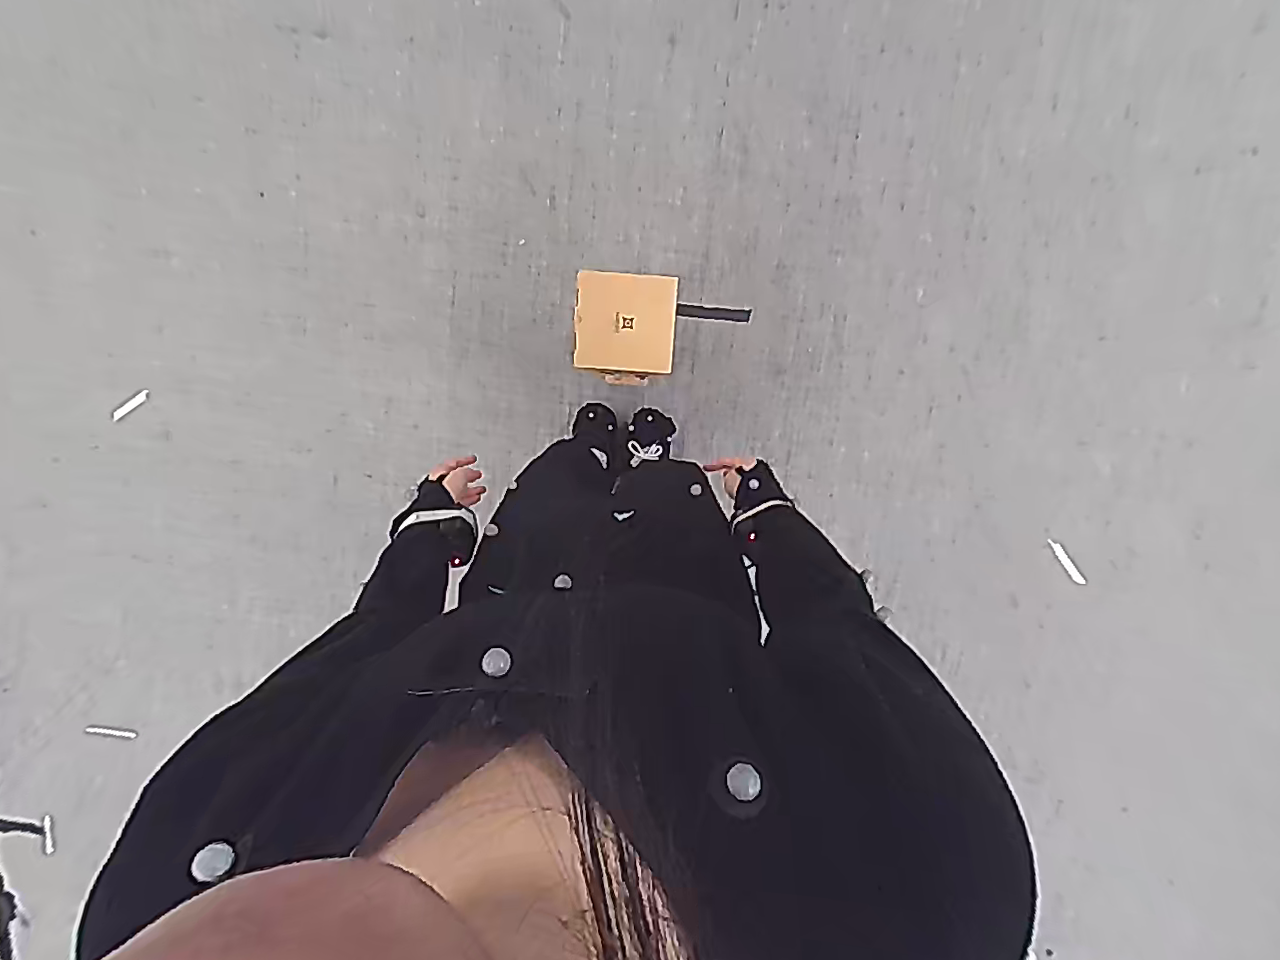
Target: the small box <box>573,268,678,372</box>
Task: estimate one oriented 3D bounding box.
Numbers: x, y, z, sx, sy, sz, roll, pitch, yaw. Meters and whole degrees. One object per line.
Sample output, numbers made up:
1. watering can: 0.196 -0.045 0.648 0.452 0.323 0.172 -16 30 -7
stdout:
1. small box: -0.026 -0.293 1.019 0.179 0.176 0.168 4 101 1
